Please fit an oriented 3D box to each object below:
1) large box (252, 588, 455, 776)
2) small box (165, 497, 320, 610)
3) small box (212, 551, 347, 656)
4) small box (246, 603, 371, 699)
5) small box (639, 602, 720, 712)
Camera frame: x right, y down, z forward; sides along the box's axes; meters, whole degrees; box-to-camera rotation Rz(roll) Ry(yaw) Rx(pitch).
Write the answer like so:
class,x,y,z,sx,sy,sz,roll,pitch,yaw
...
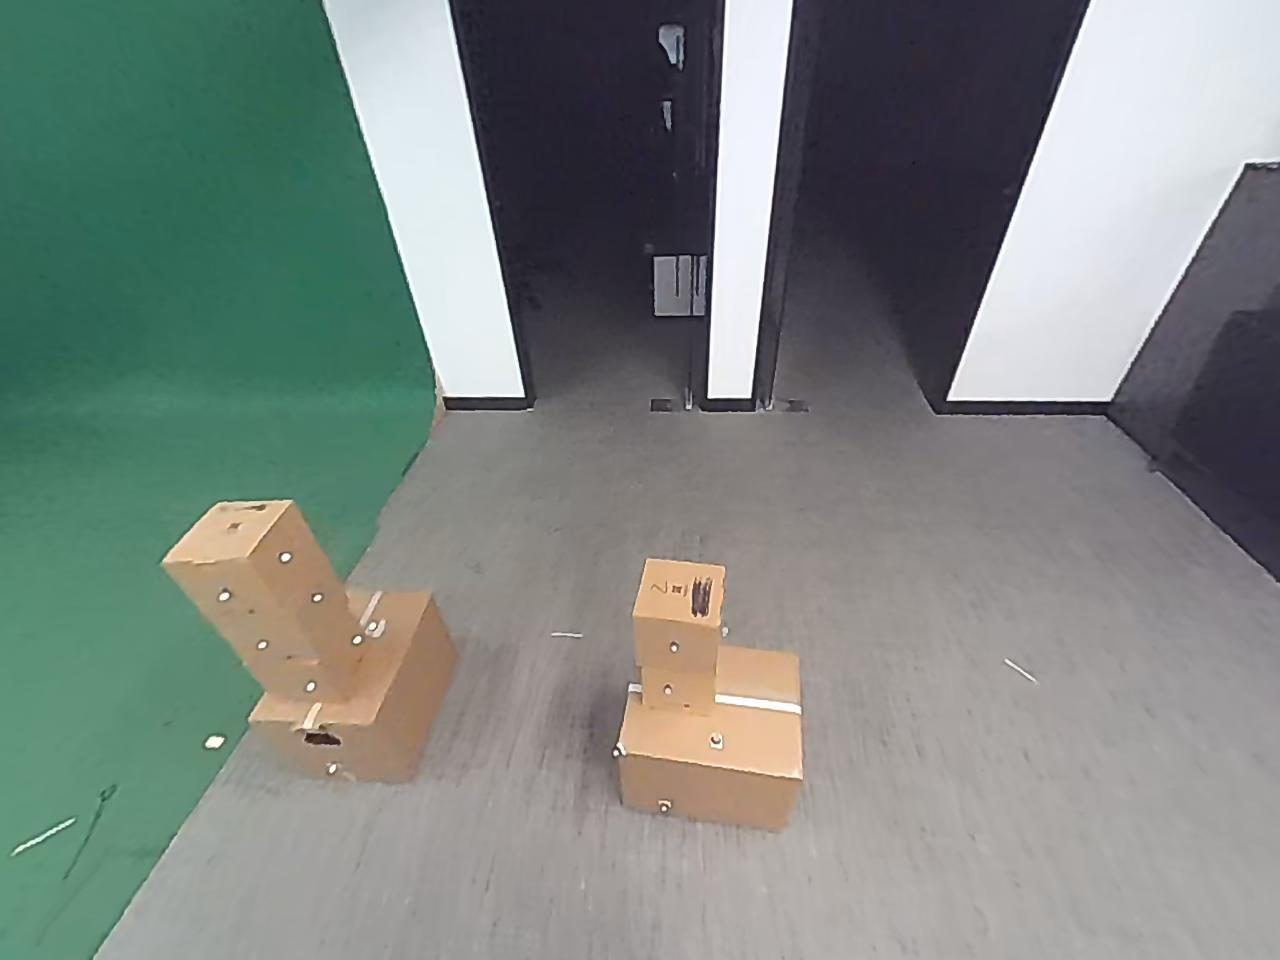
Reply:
class,x,y,z,sx,sy,sz,roll,pitch,yaw
large box,-0.765,0.563,1.524,0.320,0.320,0.408,1,38,4
small box,-0.803,0.155,1.120,0.168,0.176,0.179,-1,39,1
small box,-0.799,0.284,1.223,0.168,0.176,0.179,-2,37,-1
small box,-0.794,0.416,1.319,0.179,0.176,0.168,-1,38,3
small box,0.097,0.417,1.273,0.168,0.176,0.179,5,37,9
